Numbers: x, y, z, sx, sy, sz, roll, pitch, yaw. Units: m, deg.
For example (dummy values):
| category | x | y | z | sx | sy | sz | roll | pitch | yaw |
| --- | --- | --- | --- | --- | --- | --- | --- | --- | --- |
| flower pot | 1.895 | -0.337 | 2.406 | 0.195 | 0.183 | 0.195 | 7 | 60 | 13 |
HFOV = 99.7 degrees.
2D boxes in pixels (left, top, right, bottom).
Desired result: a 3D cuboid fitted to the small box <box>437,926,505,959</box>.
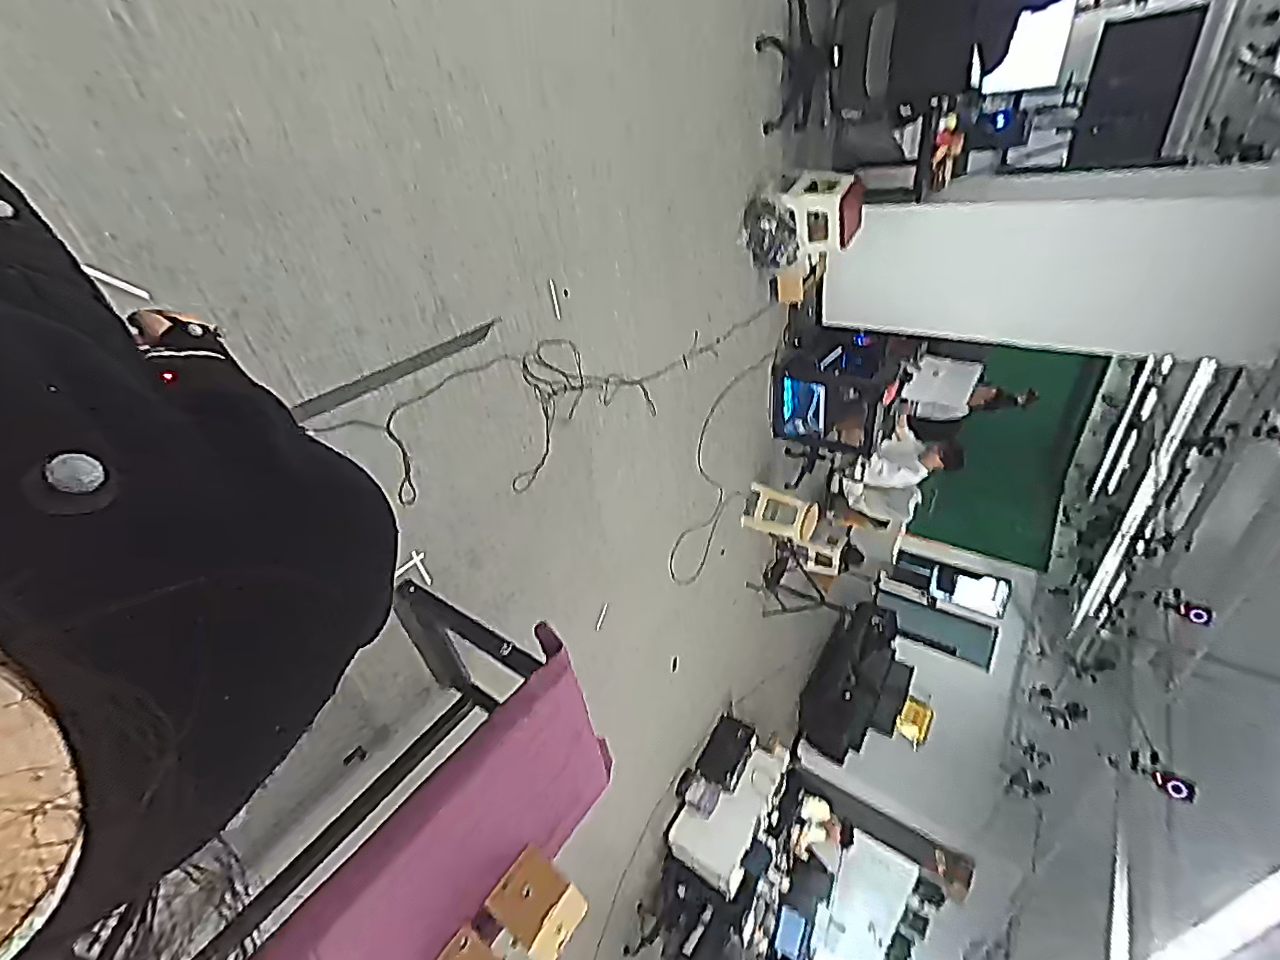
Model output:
| category | x | y | z | sx | sy | sz | roll | pitch | yaw |
| --- | --- | --- | --- | --- | --- | --- | --- | --- | --- |
| small box | -0.399 | 1.207 | 1.270 | 0.168 | 0.176 | 0.179 | -39 | 133 | -41 |
